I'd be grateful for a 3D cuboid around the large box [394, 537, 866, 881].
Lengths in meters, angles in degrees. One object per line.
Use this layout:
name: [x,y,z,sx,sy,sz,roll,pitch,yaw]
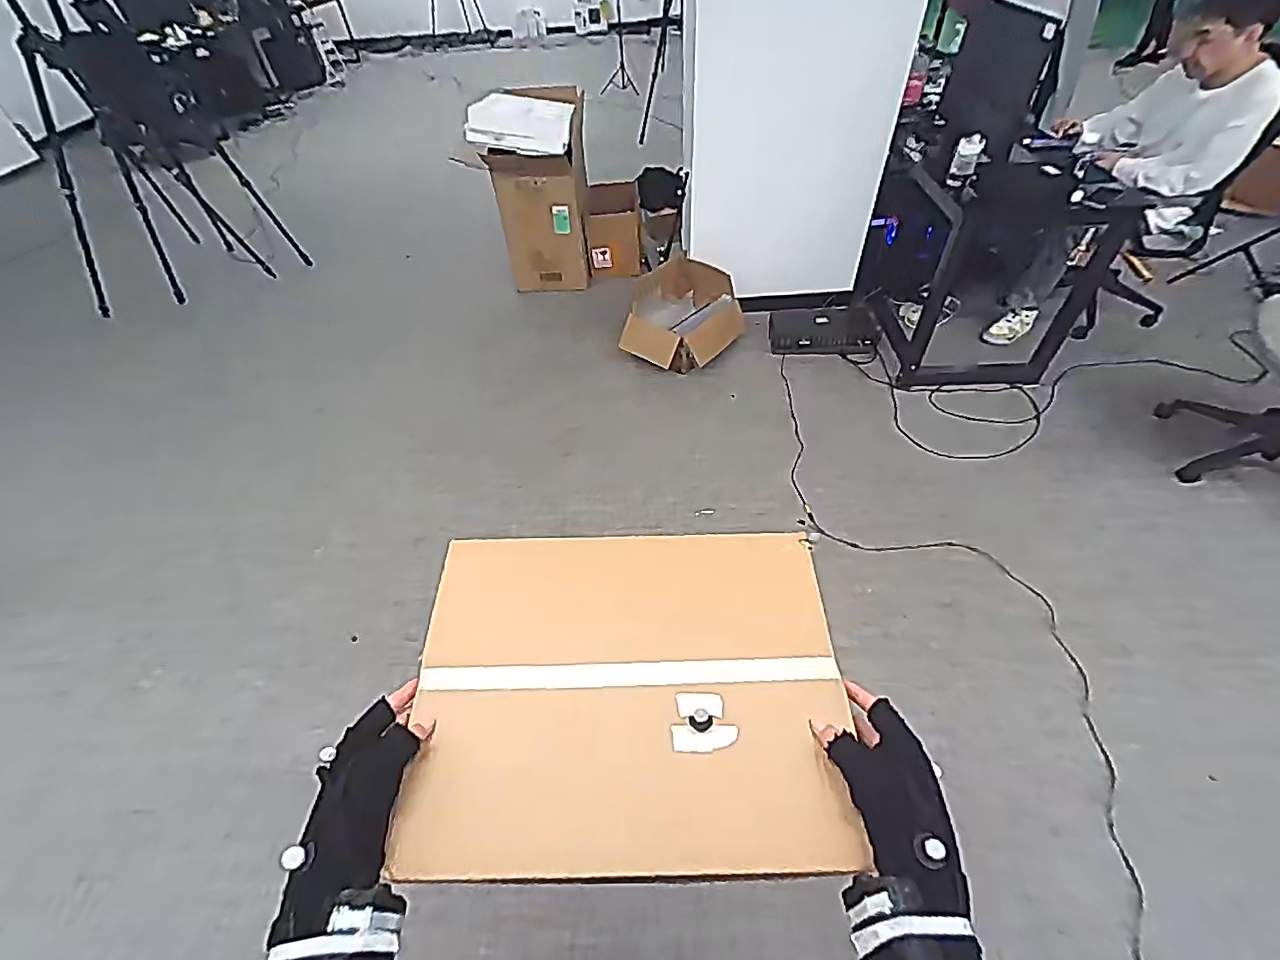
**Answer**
large box: [-0.010,0.284,0.655,0.408,0.320,0.320,-1,53,0]
